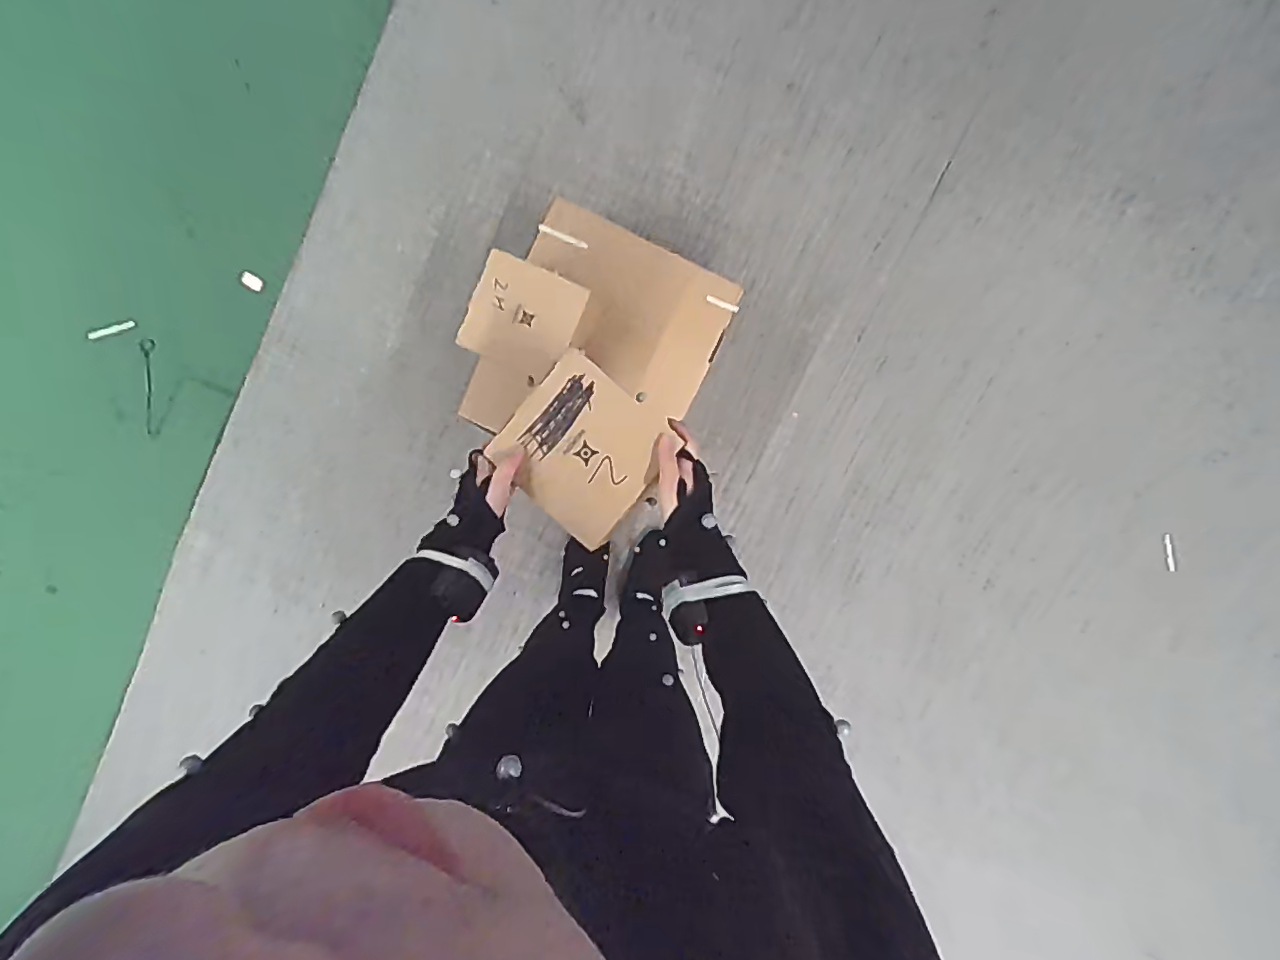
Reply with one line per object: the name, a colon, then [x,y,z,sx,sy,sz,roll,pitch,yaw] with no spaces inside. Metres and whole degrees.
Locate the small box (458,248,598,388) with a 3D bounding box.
small box: [-0.185,-0.272,0.953,0.179,0.176,0.168,24,94,-2]
